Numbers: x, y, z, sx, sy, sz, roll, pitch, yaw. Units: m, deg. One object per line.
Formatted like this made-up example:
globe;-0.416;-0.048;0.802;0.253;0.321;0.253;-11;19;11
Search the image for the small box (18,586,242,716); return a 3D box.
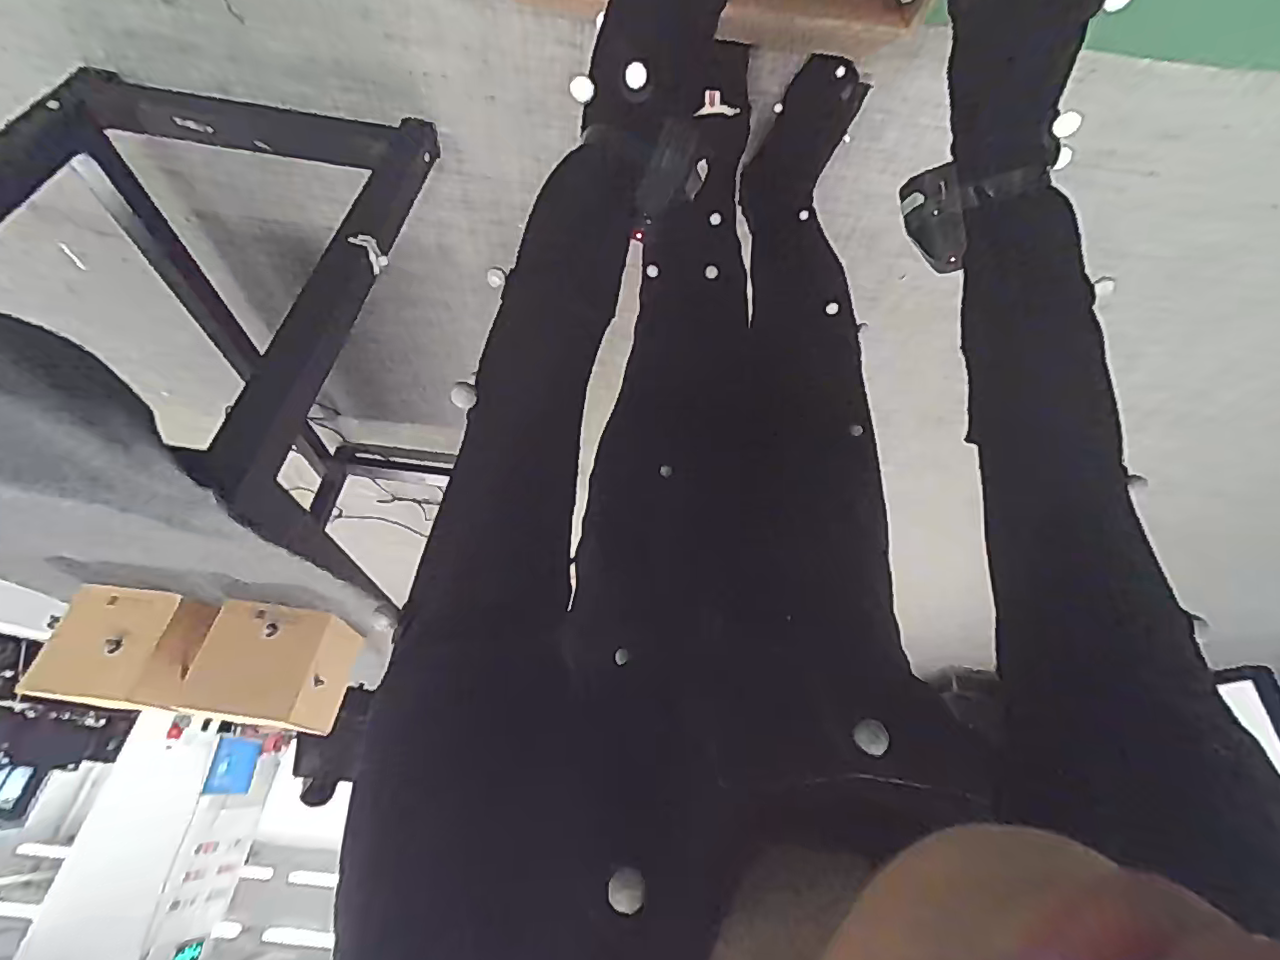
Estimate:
small box;-0.811;0.282;0.886;0.168;0.176;0.179;5;151;0
